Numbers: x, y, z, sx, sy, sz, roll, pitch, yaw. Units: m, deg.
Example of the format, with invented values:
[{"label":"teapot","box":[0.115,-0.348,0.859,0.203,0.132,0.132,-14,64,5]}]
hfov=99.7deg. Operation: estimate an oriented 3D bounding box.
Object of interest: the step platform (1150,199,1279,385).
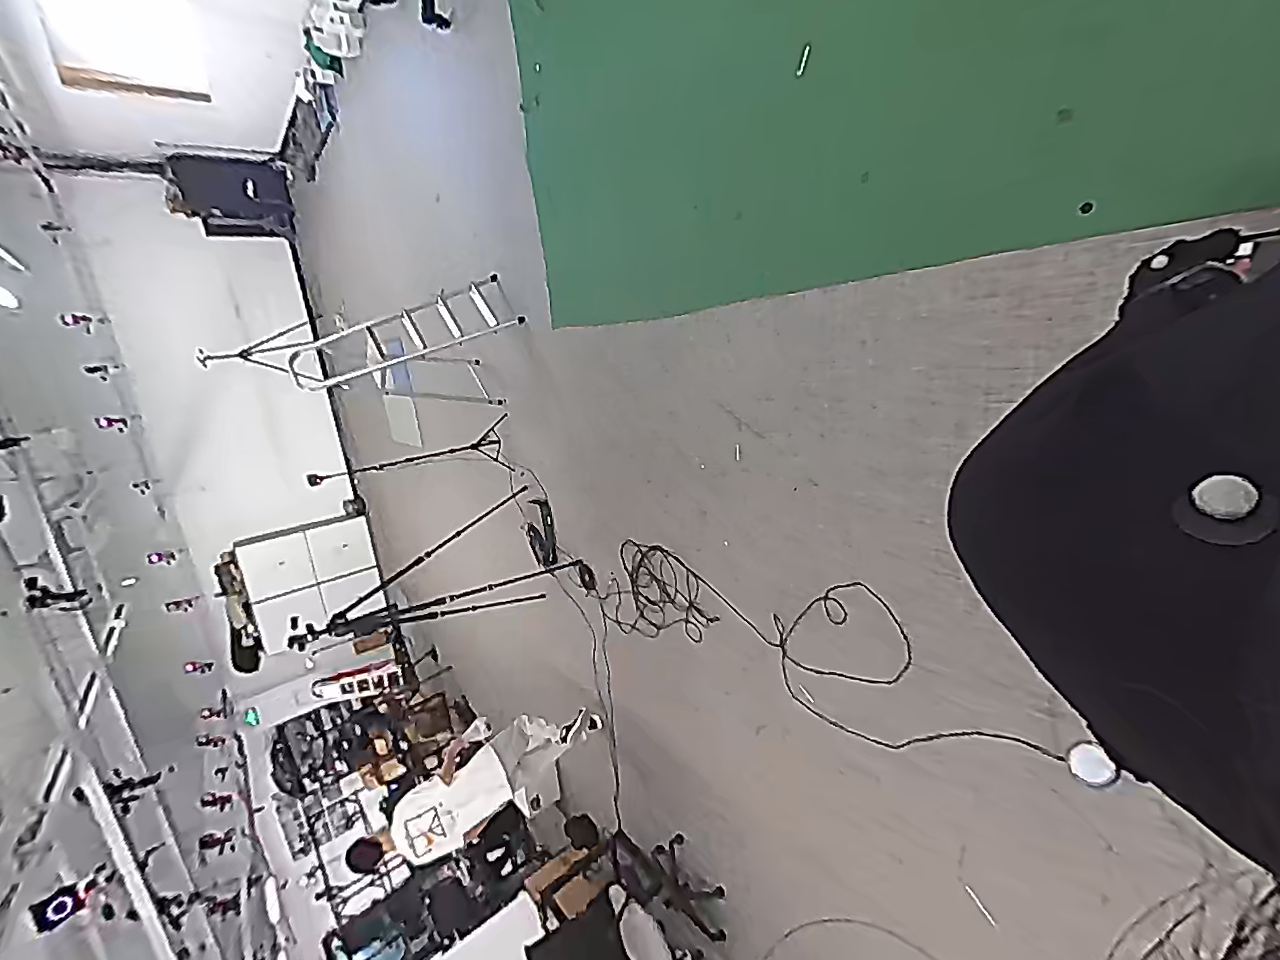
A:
[{"label":"step platform","box":[1.185,-0.296,0.743,0.684,0.204,0.286,10,112,51]}]
